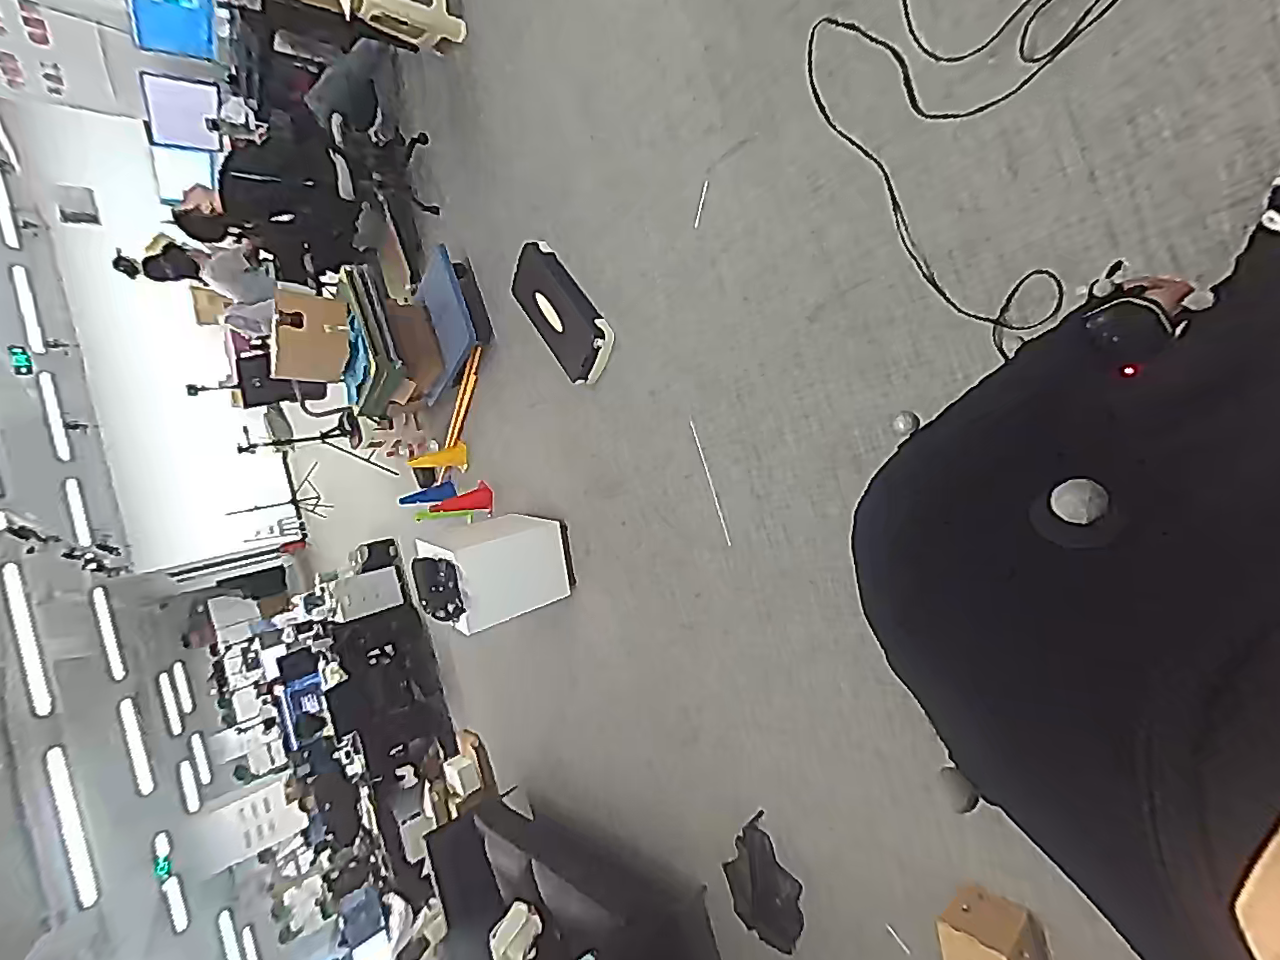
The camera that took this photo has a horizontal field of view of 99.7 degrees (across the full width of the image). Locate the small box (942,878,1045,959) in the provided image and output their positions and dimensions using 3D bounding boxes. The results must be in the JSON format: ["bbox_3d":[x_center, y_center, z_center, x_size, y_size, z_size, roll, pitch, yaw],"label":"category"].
[{"bbox_3d":[0.913,1.186,1.394,0.168,0.176,0.179,-8,96,53],"label":"small box"}]
